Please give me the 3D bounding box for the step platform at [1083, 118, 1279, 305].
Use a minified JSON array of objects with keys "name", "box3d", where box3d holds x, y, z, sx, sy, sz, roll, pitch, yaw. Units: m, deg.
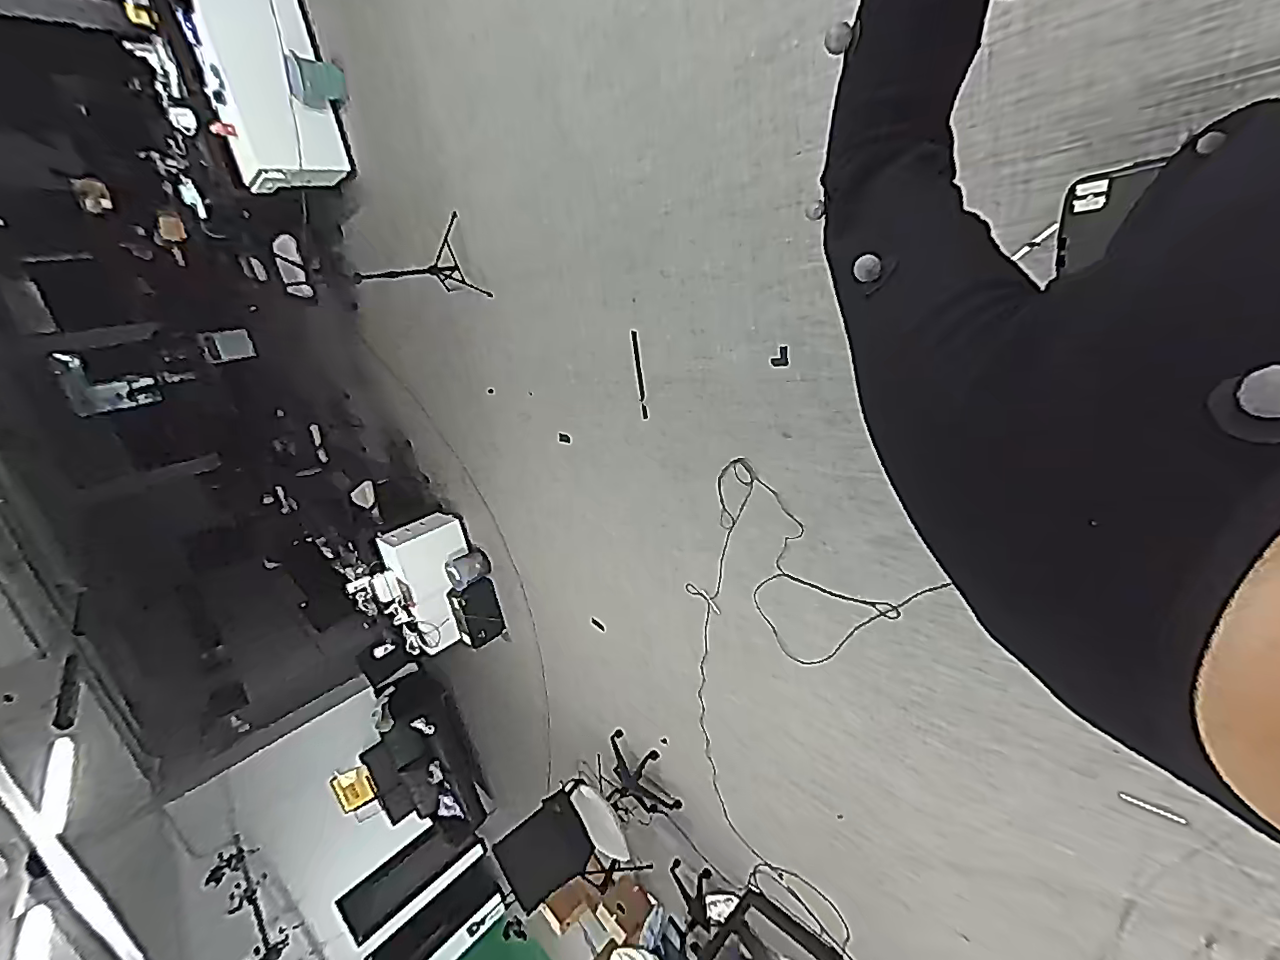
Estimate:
[{"name":"step platform","box3d":[1.203,-0.494,0.929,0.684,0.204,0.286,7,116,46]}]
